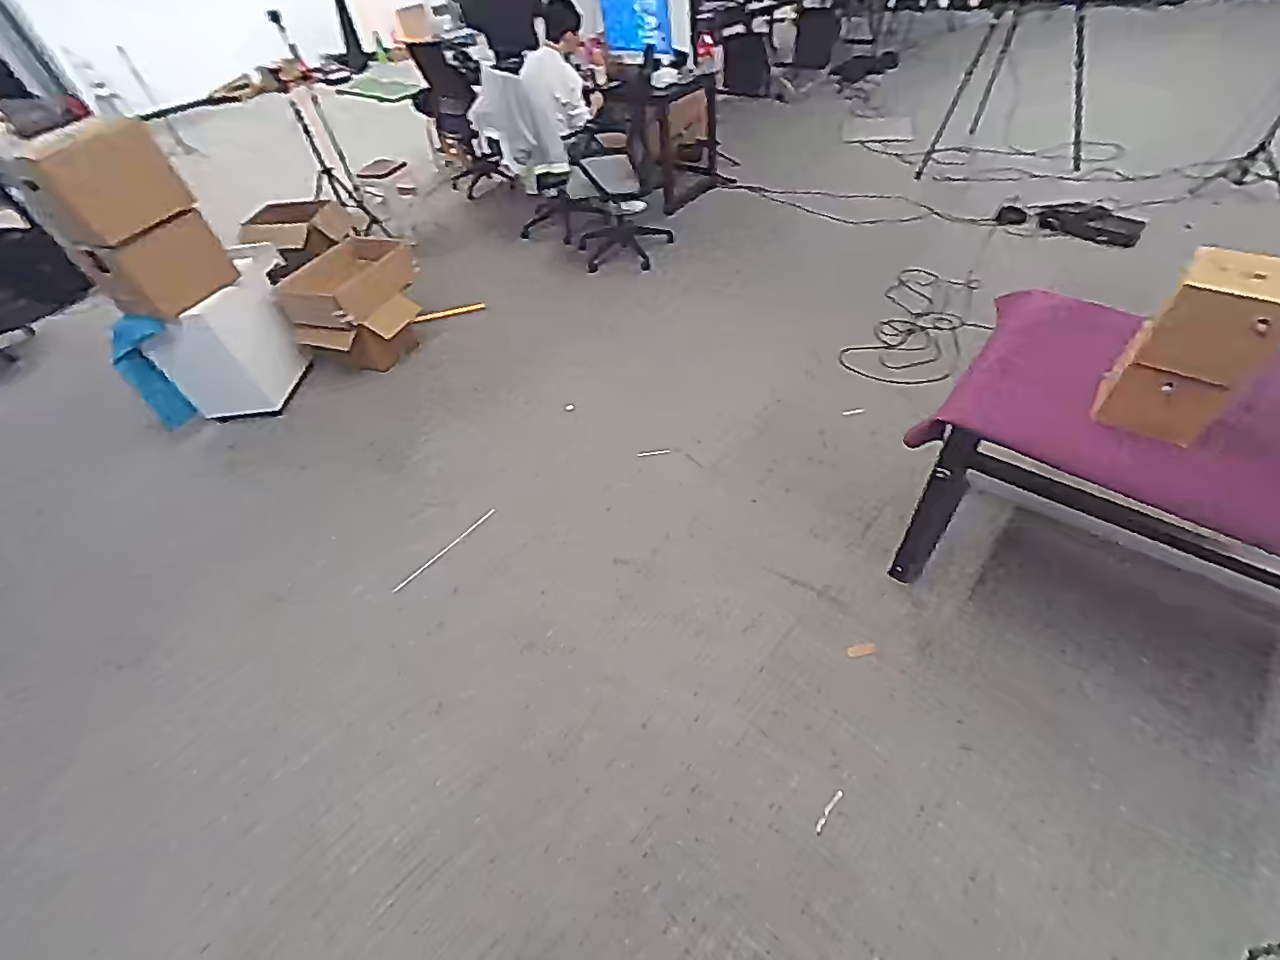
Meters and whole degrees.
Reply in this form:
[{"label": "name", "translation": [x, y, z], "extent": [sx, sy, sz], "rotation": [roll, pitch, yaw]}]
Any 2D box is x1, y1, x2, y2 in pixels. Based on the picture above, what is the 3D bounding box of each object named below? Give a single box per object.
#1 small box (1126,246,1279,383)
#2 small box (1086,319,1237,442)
[{"label": "small box", "translation": [1.074, -0.305, 1.011], "extent": [0.179, 0.176, 0.168], "rotation": [29, 58, 30]}, {"label": "small box", "translation": [1.100, -0.206, 1.142], "extent": [0.179, 0.176, 0.168], "rotation": [28, 58, 29]}]
